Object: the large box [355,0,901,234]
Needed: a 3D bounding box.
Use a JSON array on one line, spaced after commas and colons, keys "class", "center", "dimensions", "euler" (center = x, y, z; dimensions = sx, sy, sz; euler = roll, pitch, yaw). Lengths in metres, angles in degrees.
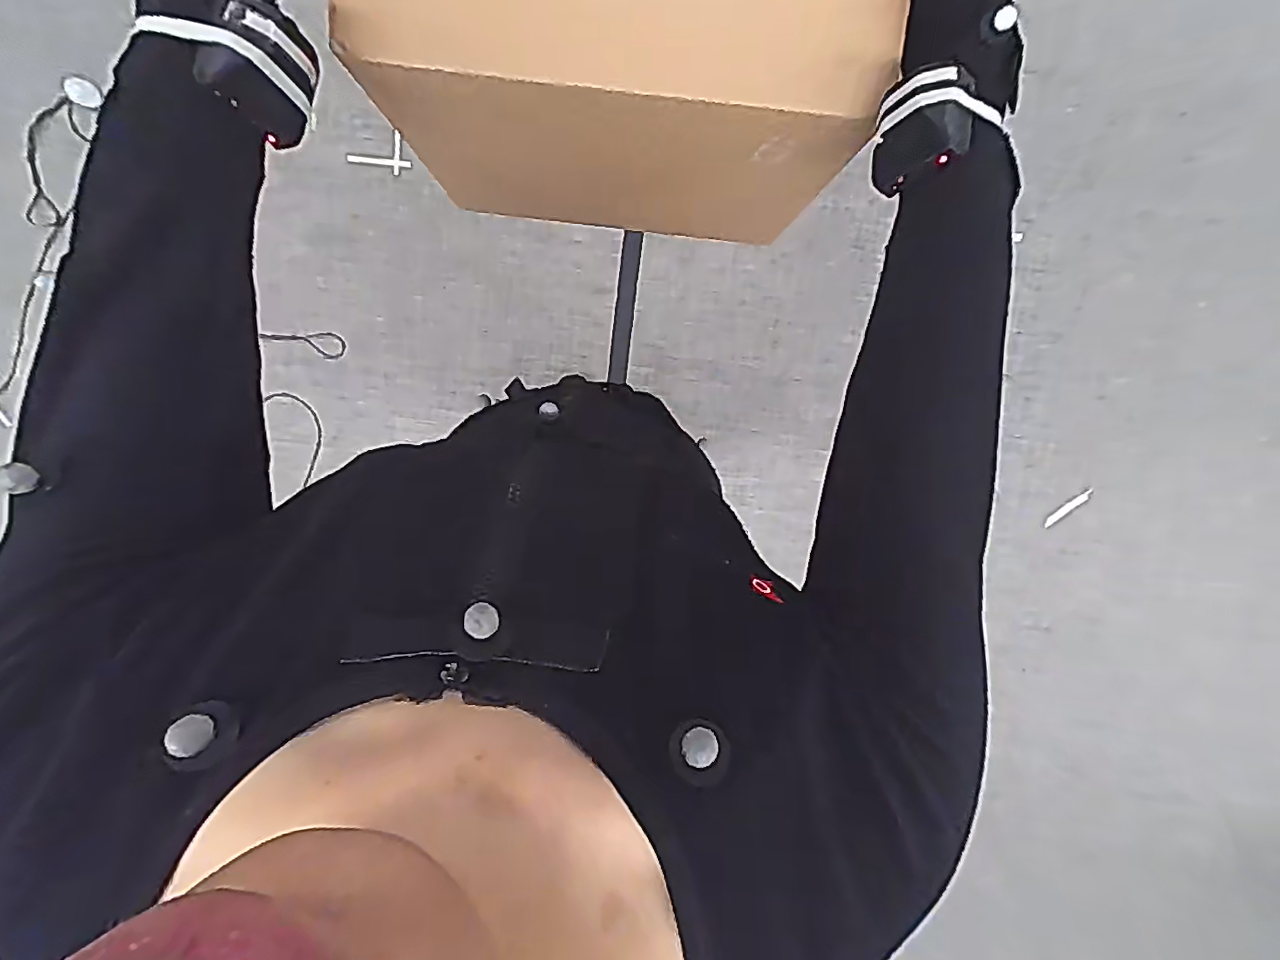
[{"class": "large box", "center": [-0.006, -0.459, 0.527], "dimensions": [0.408, 0.320, 0.320], "euler": [4, 98, -3]}]
